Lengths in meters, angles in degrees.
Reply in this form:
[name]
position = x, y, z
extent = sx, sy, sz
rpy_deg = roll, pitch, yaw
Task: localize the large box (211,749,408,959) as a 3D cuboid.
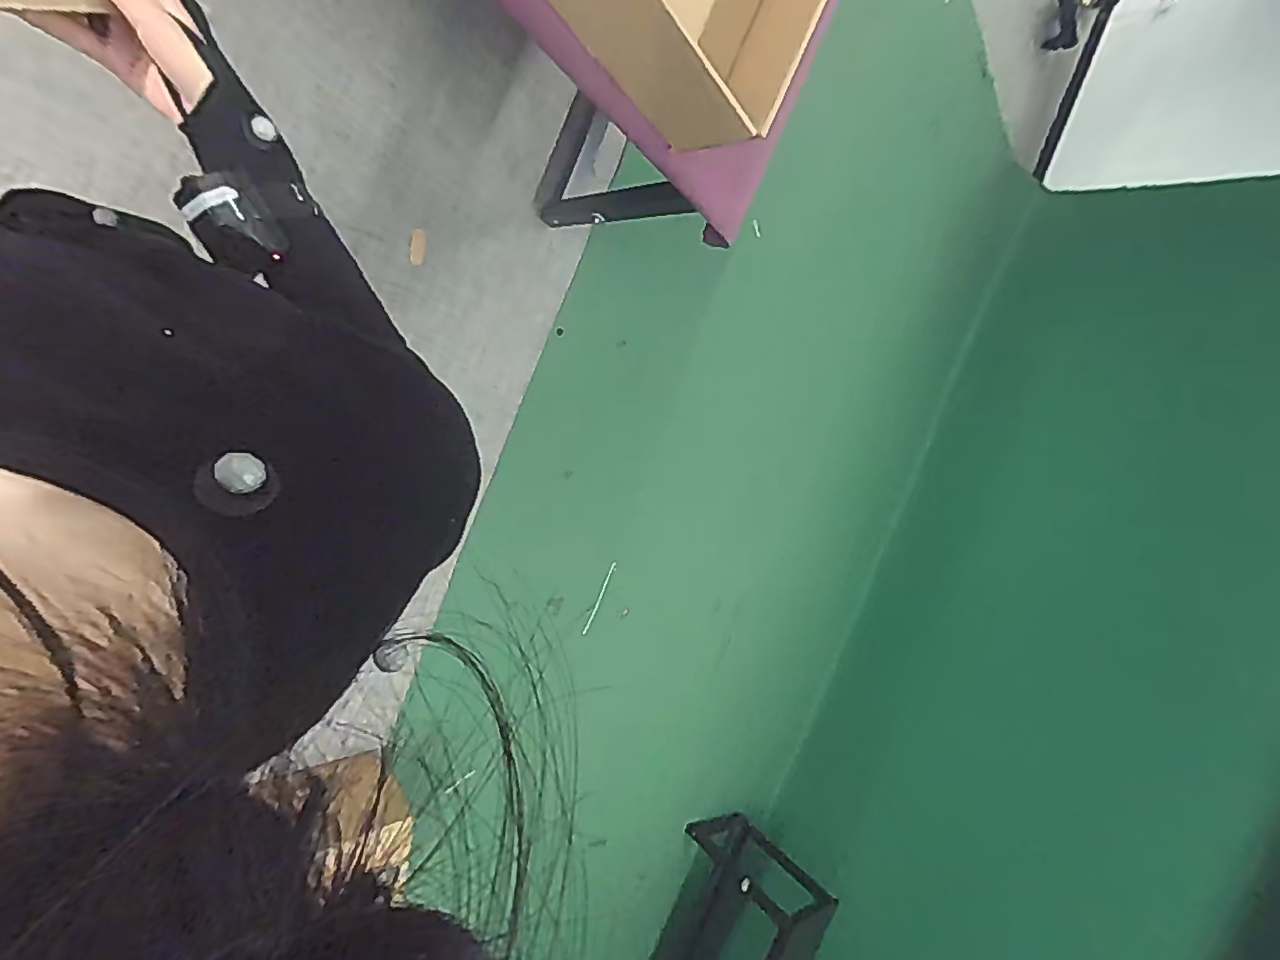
[large box]
position = -0.918, 1.027, 1.498
extent = 0.408, 0.320, 0.320
rpy_deg = 2, 105, -44
